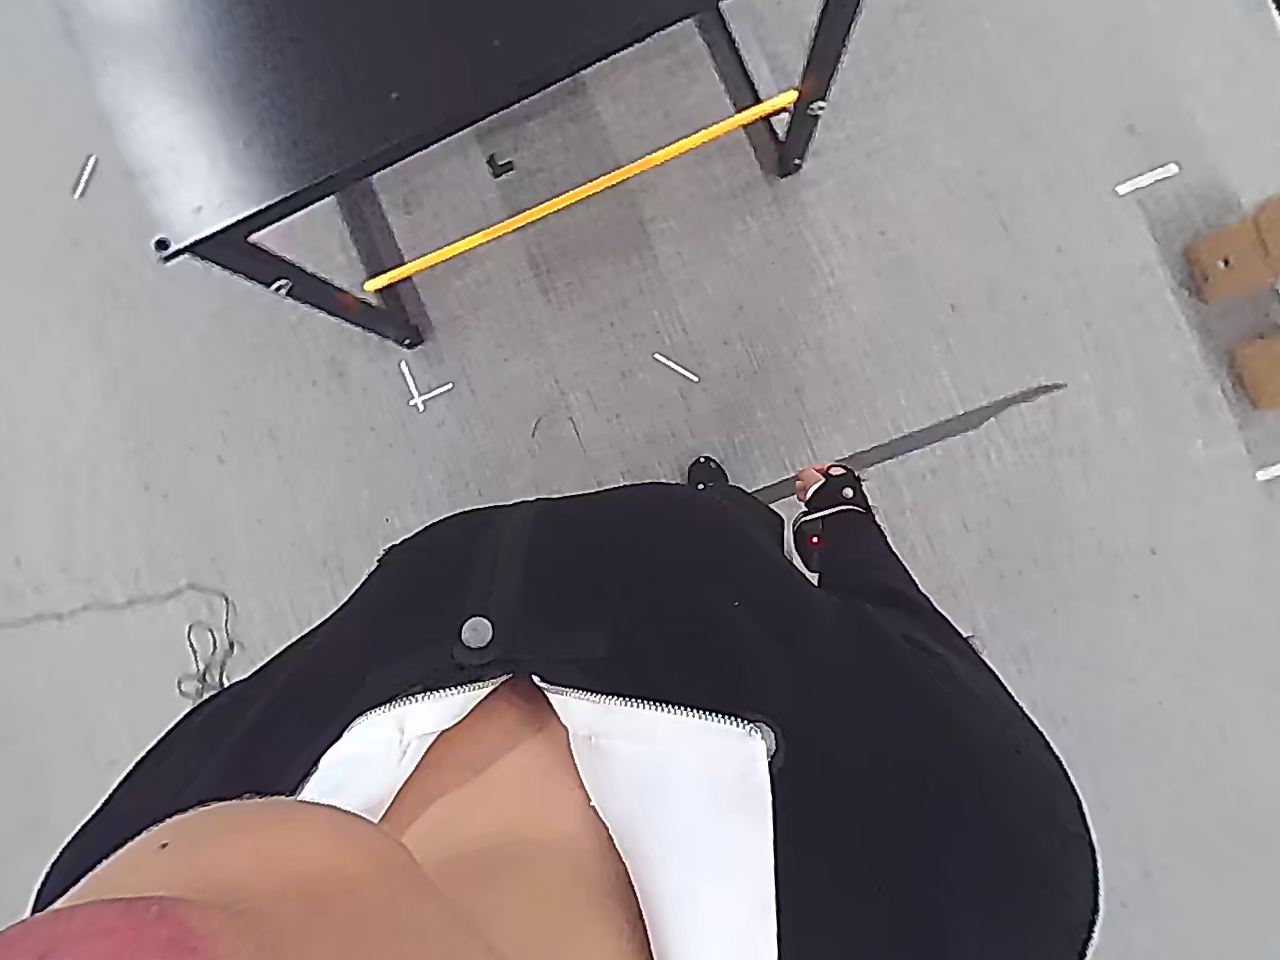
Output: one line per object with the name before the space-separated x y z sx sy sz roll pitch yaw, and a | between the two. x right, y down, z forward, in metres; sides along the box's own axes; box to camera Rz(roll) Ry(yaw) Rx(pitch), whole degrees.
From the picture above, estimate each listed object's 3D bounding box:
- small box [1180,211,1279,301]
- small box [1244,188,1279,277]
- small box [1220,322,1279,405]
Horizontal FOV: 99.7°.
small box | 1.455 -0.551 1.288 0.179 0.176 0.168 -20 90 6
small box | 1.435 -0.555 1.122 0.168 0.176 0.179 -19 90 4
small box | 1.567 -0.287 1.287 0.168 0.176 0.179 -23 90 5
